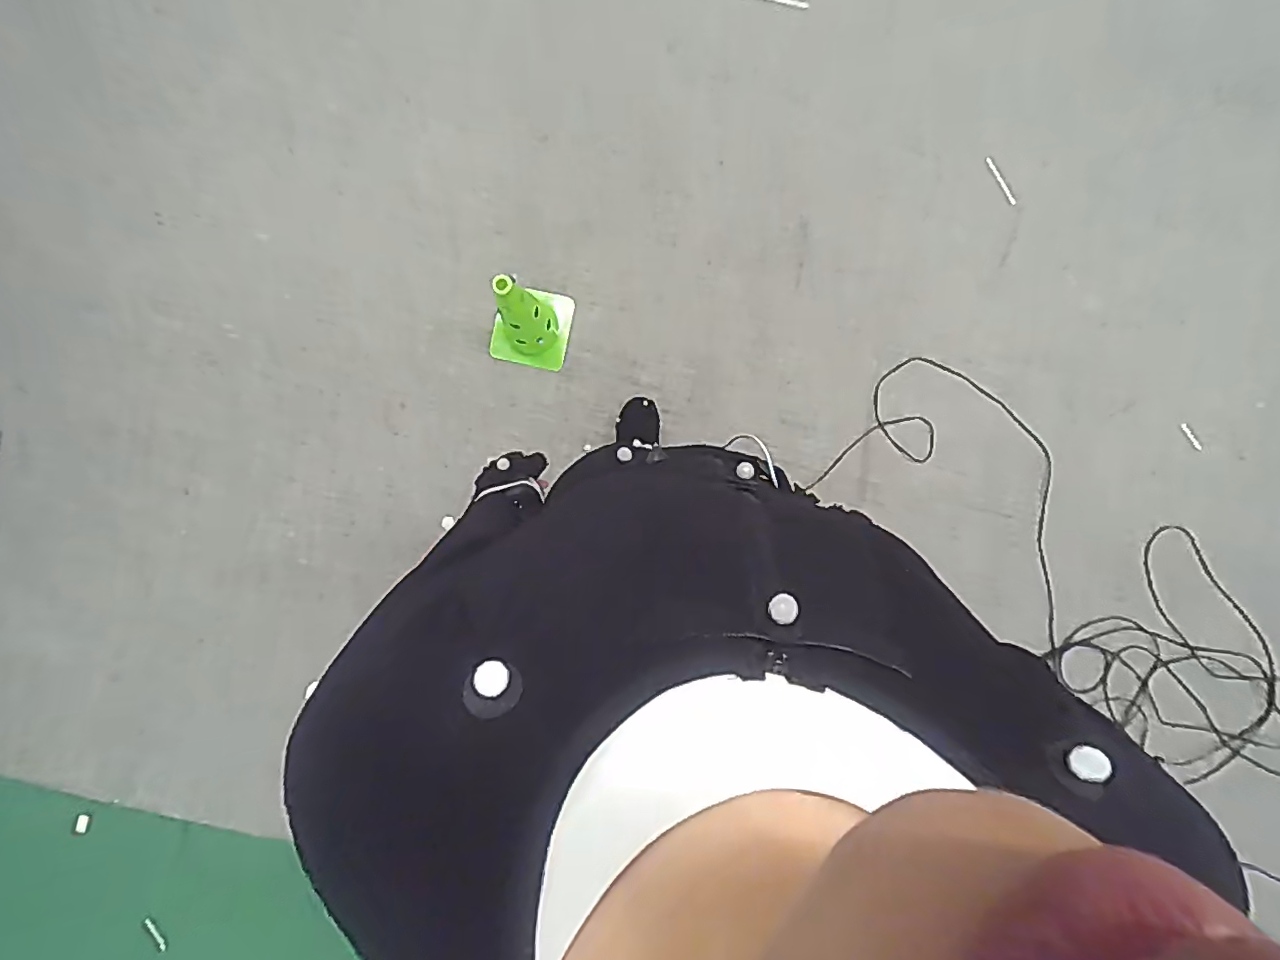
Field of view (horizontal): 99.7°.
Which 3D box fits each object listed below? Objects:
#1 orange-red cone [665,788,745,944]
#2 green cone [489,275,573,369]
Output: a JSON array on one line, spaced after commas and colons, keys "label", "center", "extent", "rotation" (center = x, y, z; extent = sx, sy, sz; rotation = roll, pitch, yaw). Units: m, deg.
[{"label": "orange-red cone", "center": [0.188, 0.972, 1.336], "extent": [0.198, 0.360, 0.199], "rotation": [14, 91, -3]}, {"label": "green cone", "center": [-0.283, -0.402, 1.270], "extent": [0.202, 0.368, 0.200], "rotation": [12, 93, -3]}]
